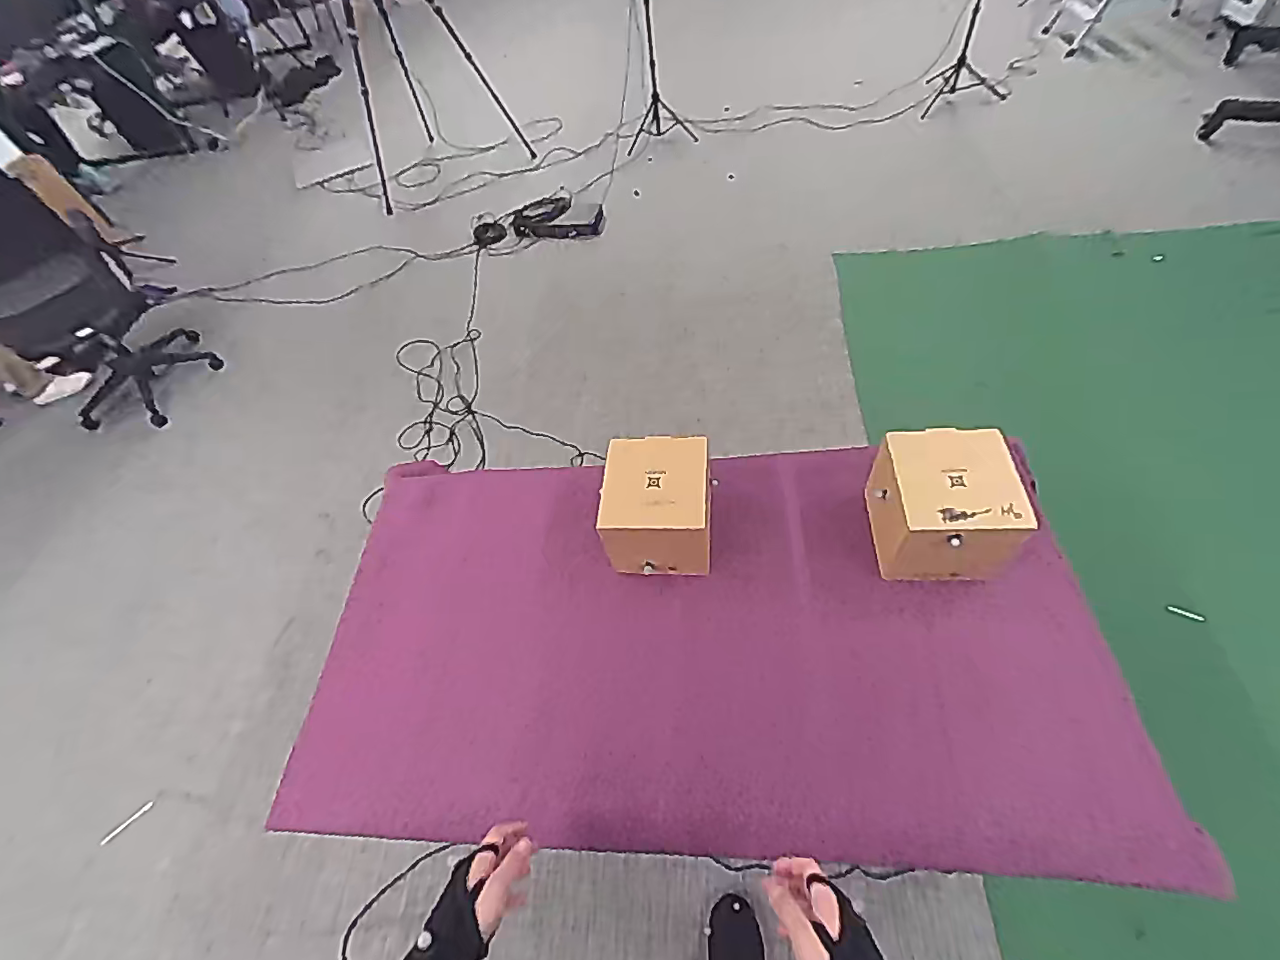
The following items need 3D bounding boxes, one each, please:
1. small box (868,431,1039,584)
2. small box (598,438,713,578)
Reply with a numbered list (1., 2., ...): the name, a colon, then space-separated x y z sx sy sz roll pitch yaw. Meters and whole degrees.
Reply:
1. small box: 0.466 0.044 0.840 0.168 0.176 0.179 -2 55 9
2. small box: 0.036 0.047 0.912 0.168 0.176 0.179 0 56 10
